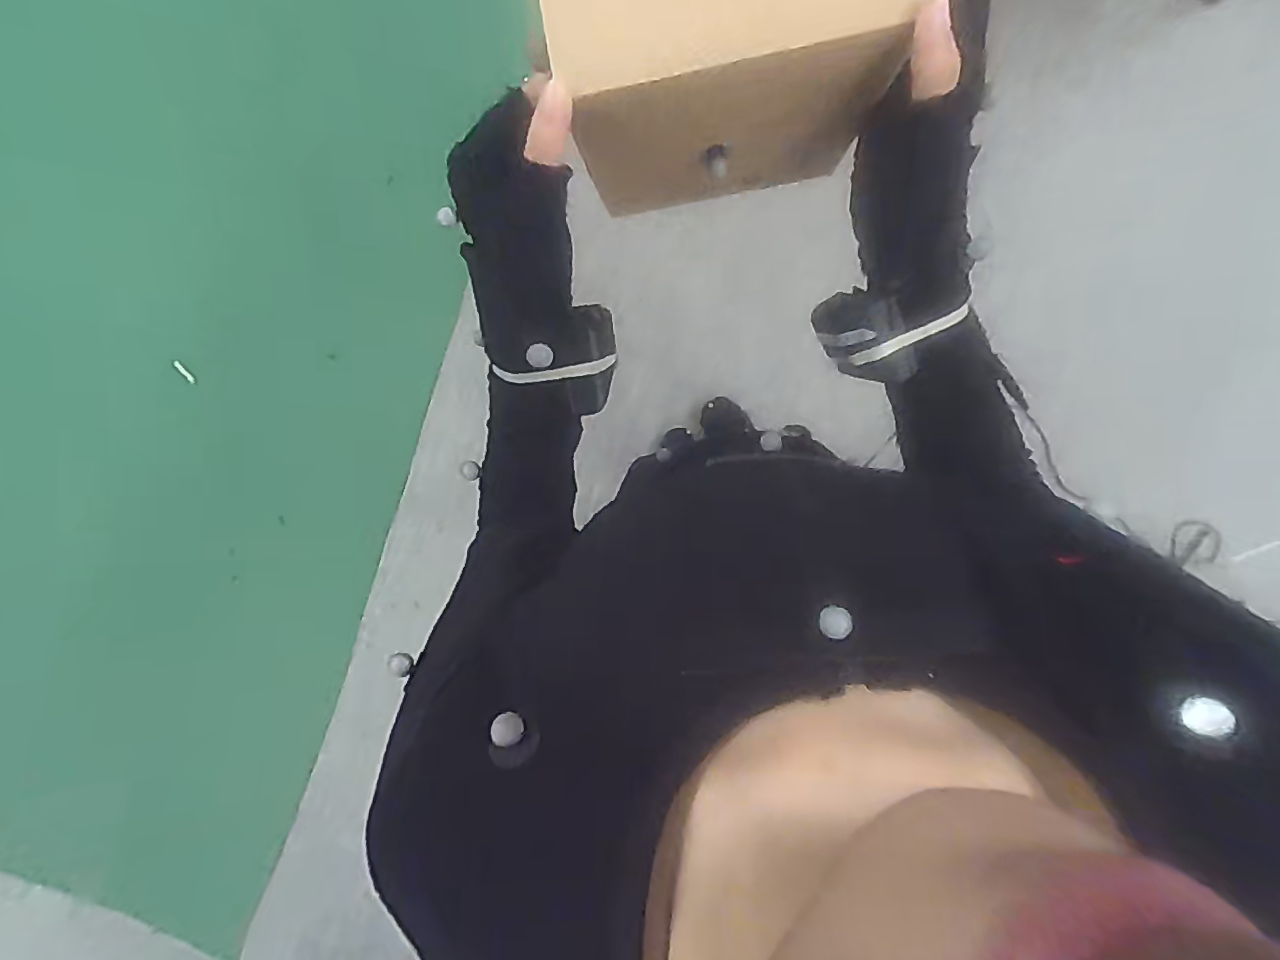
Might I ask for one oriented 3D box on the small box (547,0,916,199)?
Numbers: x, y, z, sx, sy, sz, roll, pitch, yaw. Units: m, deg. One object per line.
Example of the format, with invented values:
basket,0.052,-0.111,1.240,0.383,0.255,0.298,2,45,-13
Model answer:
small box,0.039,-0.286,0.314,0.168,0.176,0.179,-8,98,6
